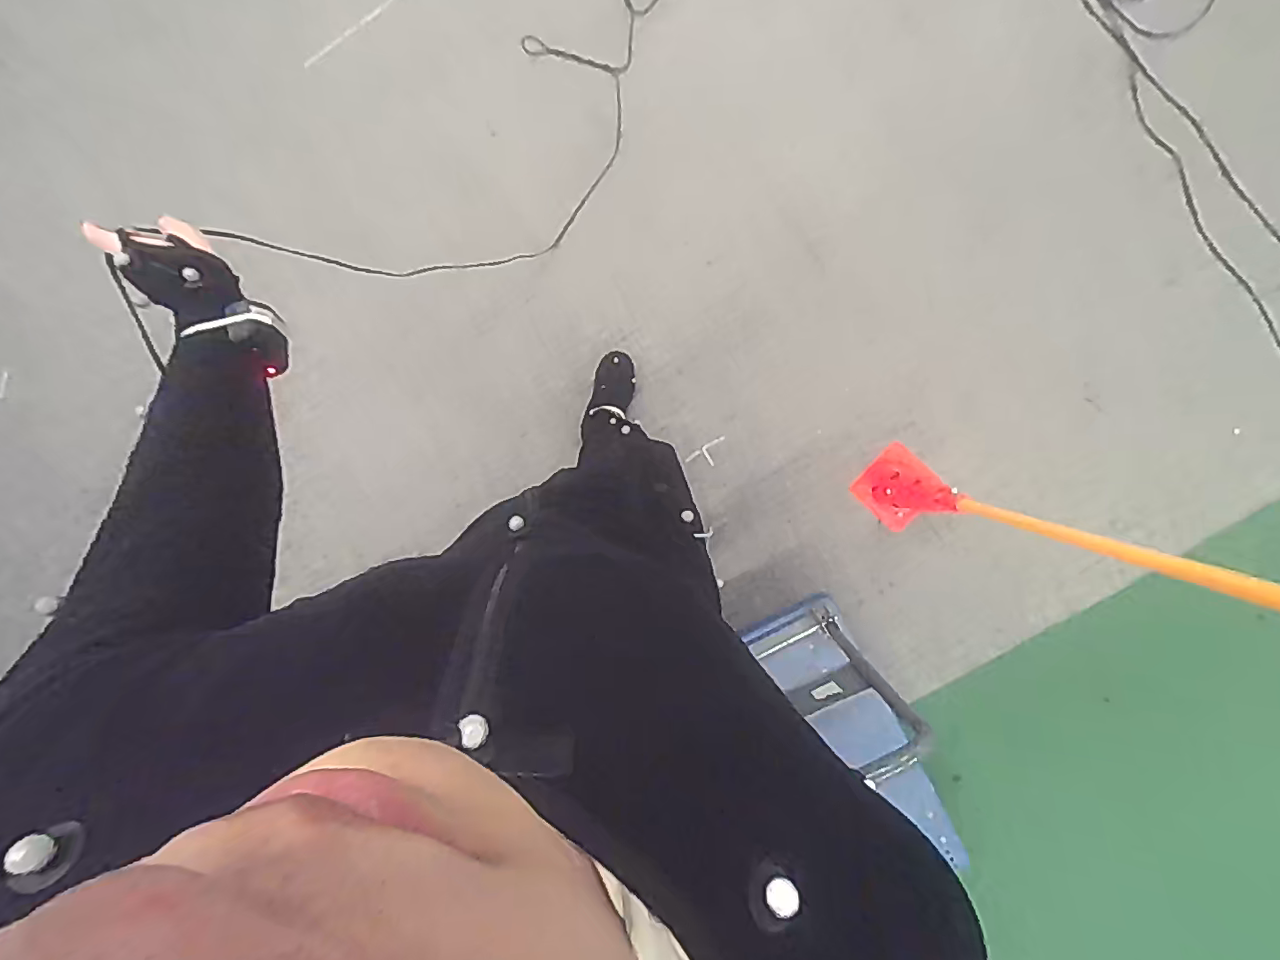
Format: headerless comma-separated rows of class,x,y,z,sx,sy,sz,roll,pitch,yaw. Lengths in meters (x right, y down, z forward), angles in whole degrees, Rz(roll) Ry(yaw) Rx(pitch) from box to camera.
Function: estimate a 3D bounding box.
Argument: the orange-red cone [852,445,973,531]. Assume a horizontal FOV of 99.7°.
orange-red cone,0.740,0.040,1.398,0.198,0.360,0.199,44,94,-3
